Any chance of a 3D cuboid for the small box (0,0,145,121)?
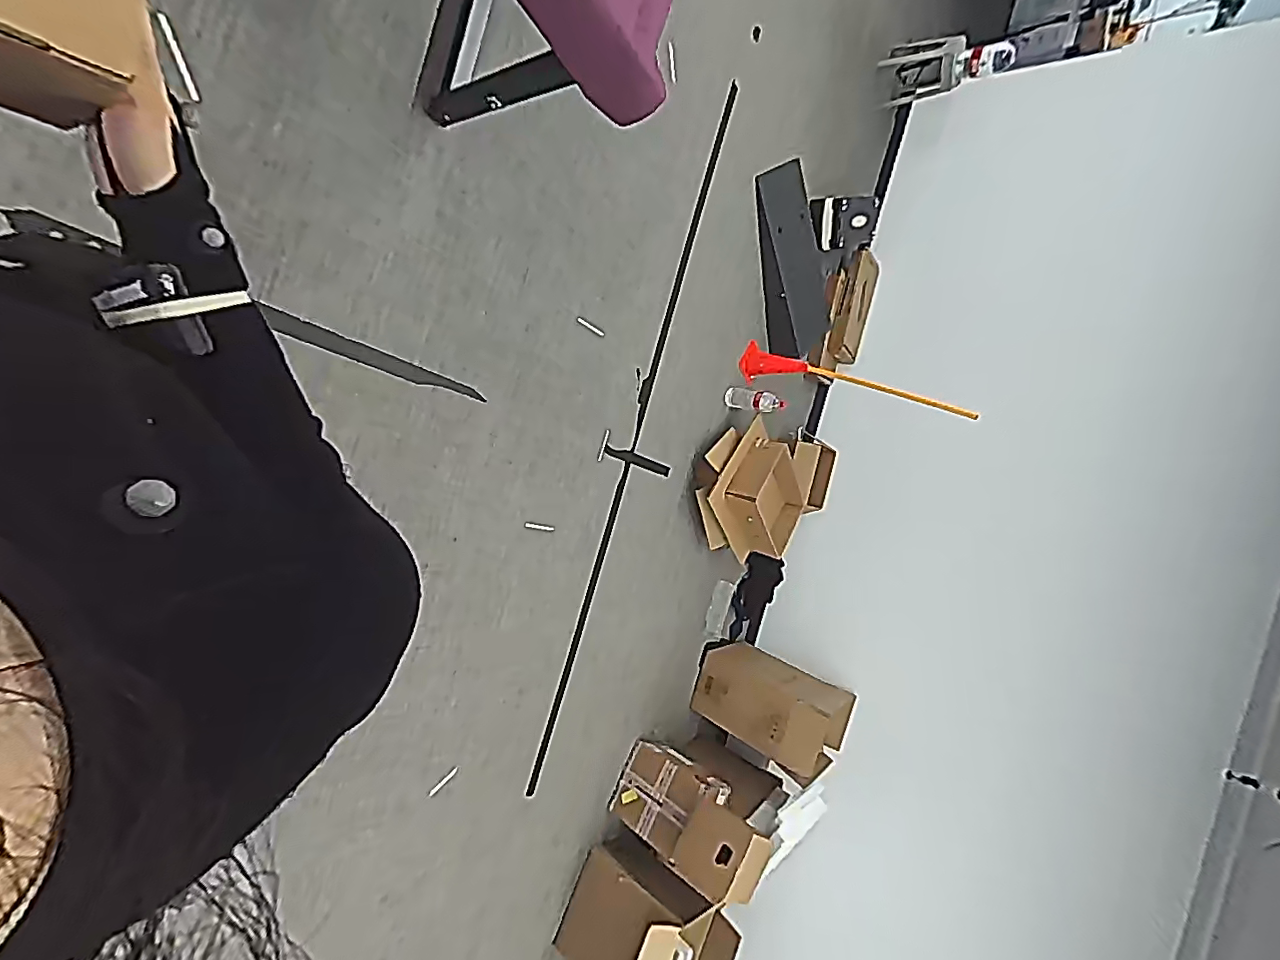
[{"bbox_3d":[-0.356,-0.302,0.251,0.168,0.176,0.179,-3,106,-54],"label":"small box"}]
